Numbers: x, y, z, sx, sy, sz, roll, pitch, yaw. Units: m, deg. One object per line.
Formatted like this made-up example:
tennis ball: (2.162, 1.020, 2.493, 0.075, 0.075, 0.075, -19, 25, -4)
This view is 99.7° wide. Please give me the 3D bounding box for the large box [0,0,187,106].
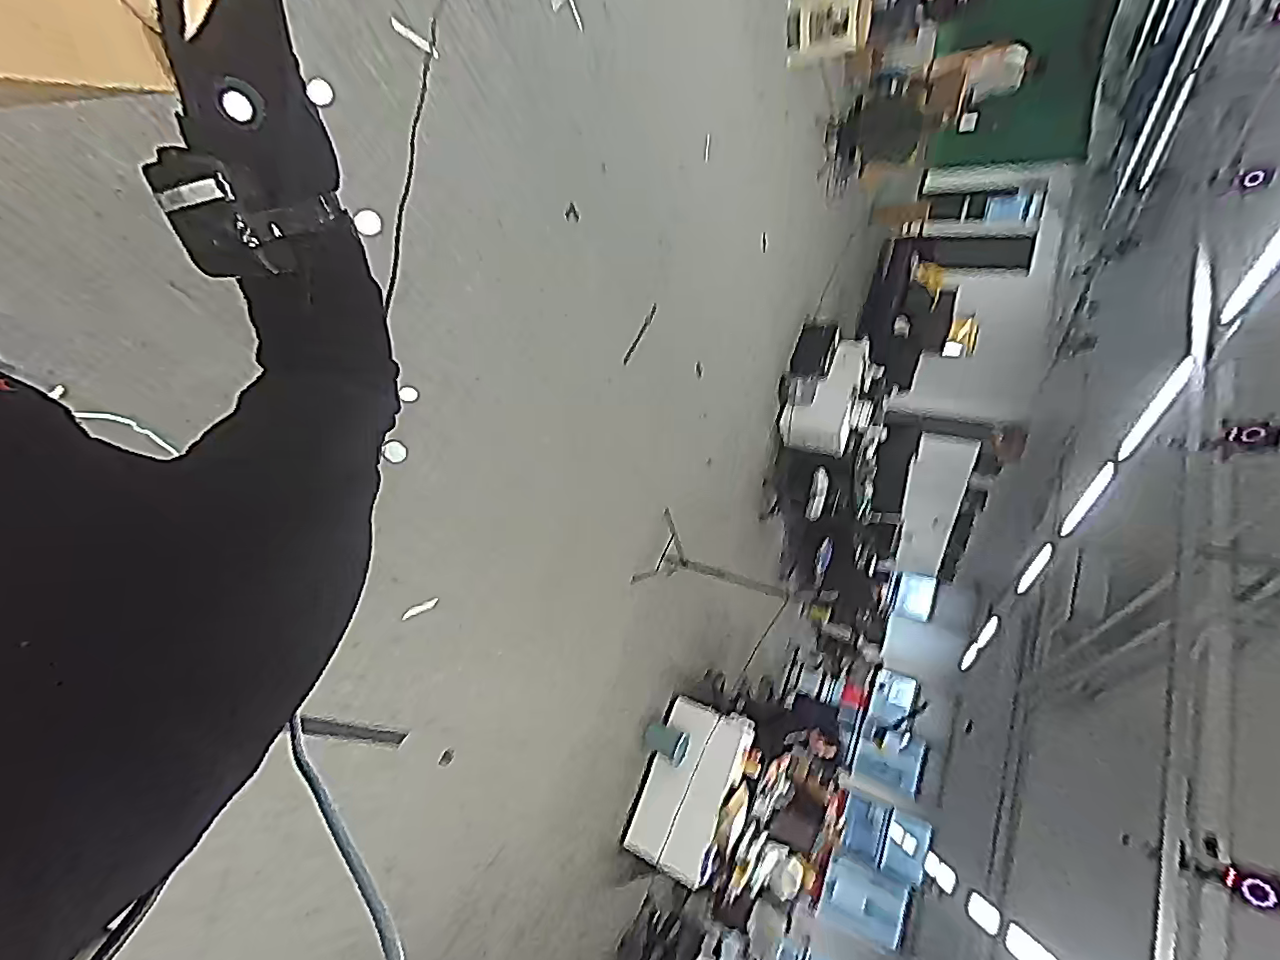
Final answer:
large box: (-0.461, -0.288, 0.125, 0.408, 0.320, 0.320, -39, 140, -47)
